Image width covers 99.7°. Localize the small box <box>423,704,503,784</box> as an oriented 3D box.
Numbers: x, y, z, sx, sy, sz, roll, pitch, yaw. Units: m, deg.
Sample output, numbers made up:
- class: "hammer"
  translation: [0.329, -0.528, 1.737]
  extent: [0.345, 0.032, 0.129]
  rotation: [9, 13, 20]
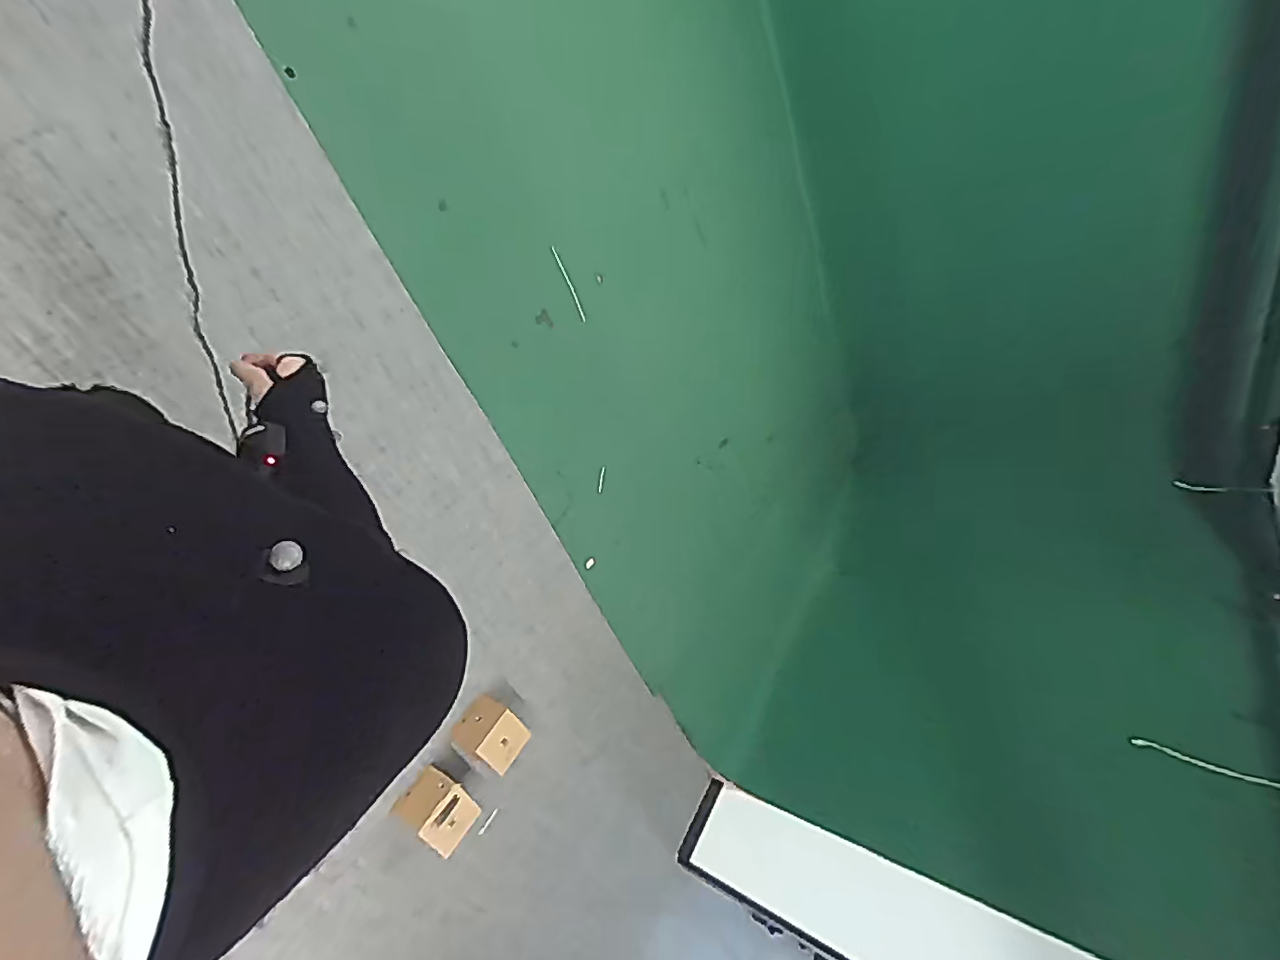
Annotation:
- class: "small box"
  translation: [-0.621, 0.913, 1.890]
  extent: [0.168, 0.176, 0.179]
  rotation: [-49, 130, -36]
